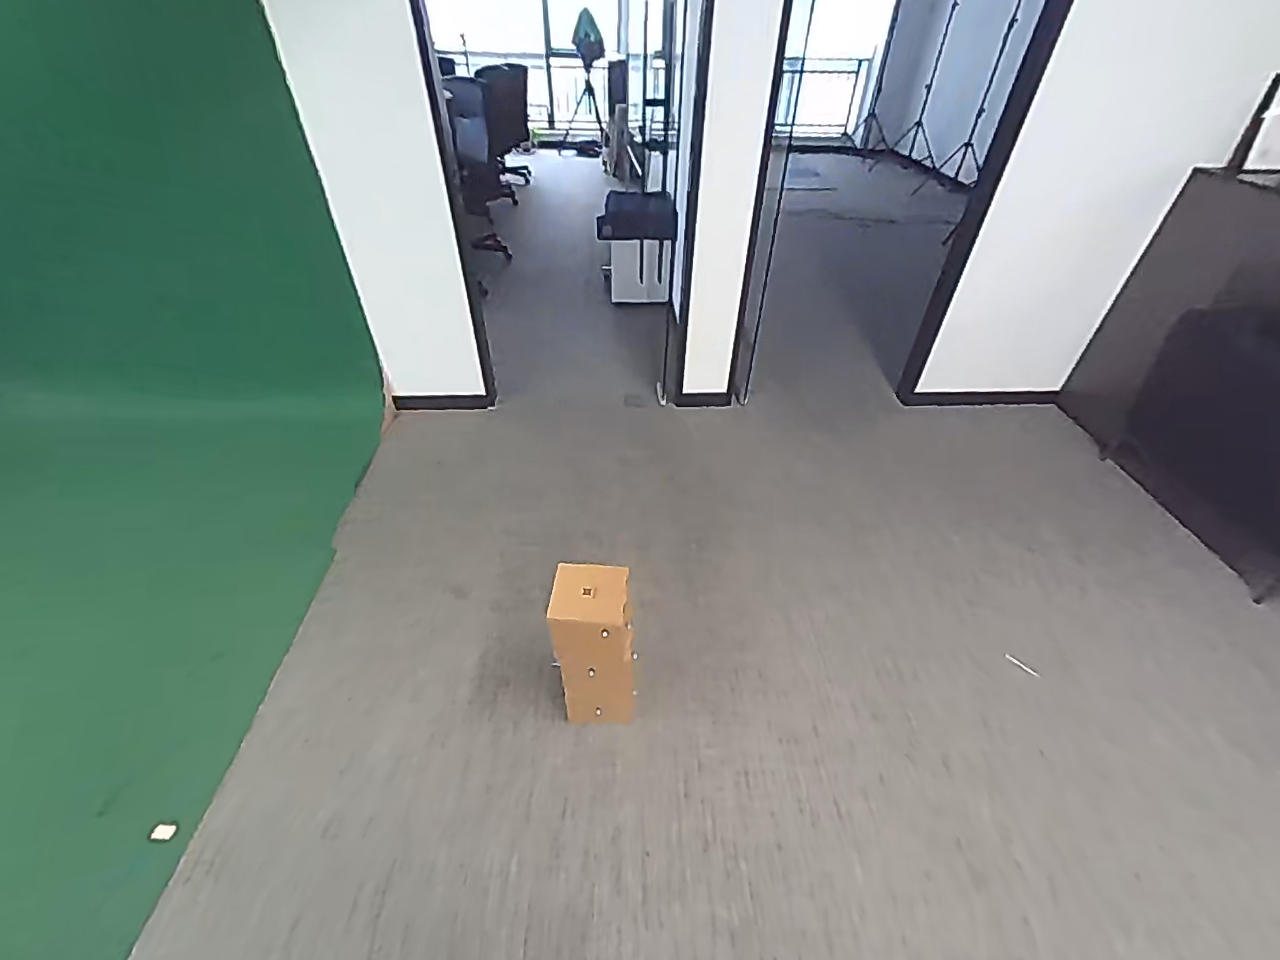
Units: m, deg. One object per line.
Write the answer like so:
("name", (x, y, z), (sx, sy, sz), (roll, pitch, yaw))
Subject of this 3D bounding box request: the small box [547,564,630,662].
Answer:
("small box", (-0.119, 0.327, 1.323), (0.179, 0.176, 0.168), (4, 41, 2))

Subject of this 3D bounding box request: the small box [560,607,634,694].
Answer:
("small box", (-0.108, 0.450, 1.430), (0.179, 0.176, 0.168), (1, 42, 0))
